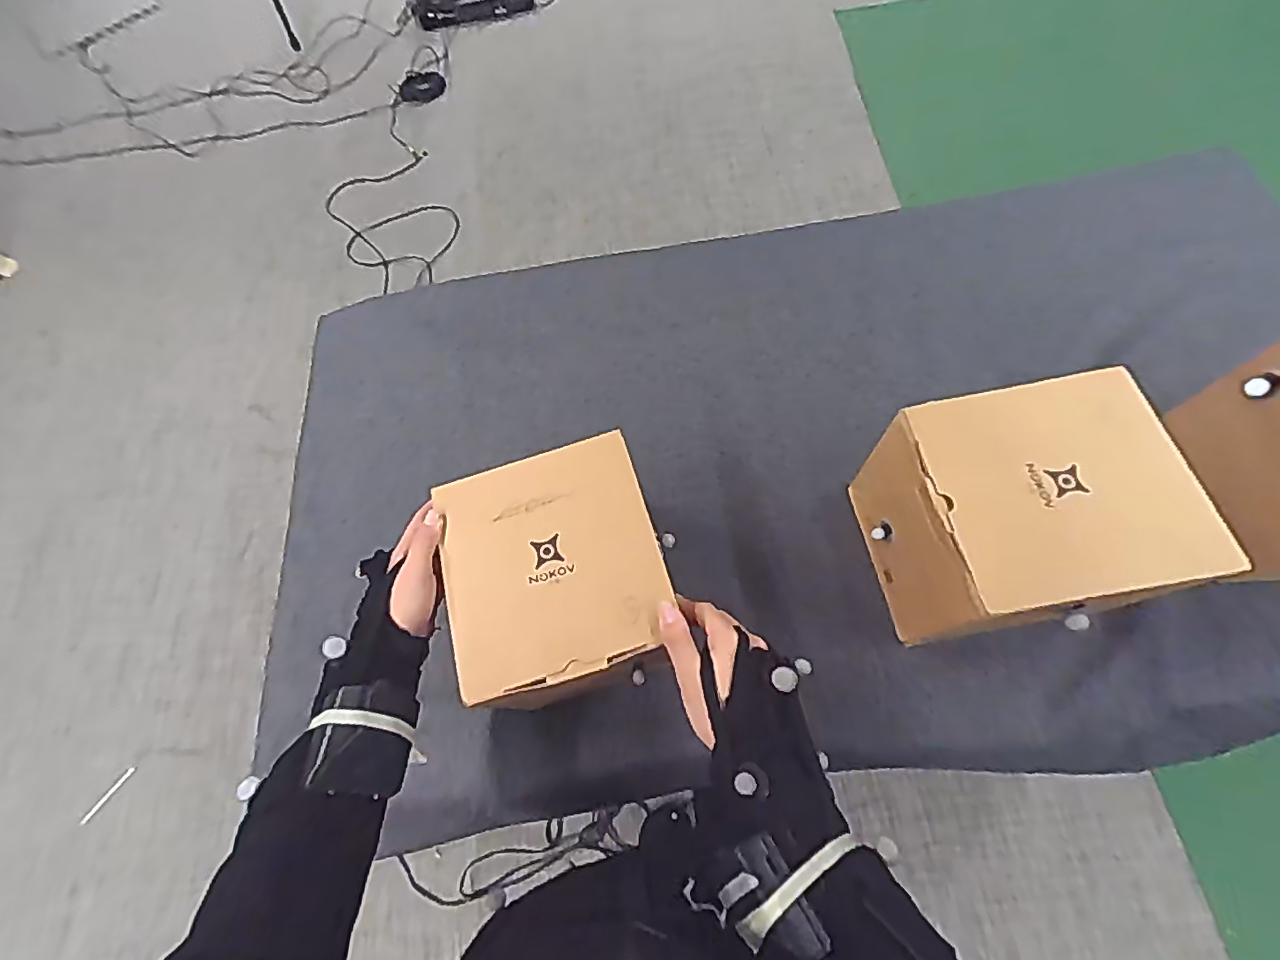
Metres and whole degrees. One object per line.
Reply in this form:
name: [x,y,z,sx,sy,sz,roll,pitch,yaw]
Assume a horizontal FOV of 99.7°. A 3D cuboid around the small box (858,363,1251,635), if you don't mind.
small box: [0.313,0.029,0.461,0.179,0.176,0.168,-11,66,3]
